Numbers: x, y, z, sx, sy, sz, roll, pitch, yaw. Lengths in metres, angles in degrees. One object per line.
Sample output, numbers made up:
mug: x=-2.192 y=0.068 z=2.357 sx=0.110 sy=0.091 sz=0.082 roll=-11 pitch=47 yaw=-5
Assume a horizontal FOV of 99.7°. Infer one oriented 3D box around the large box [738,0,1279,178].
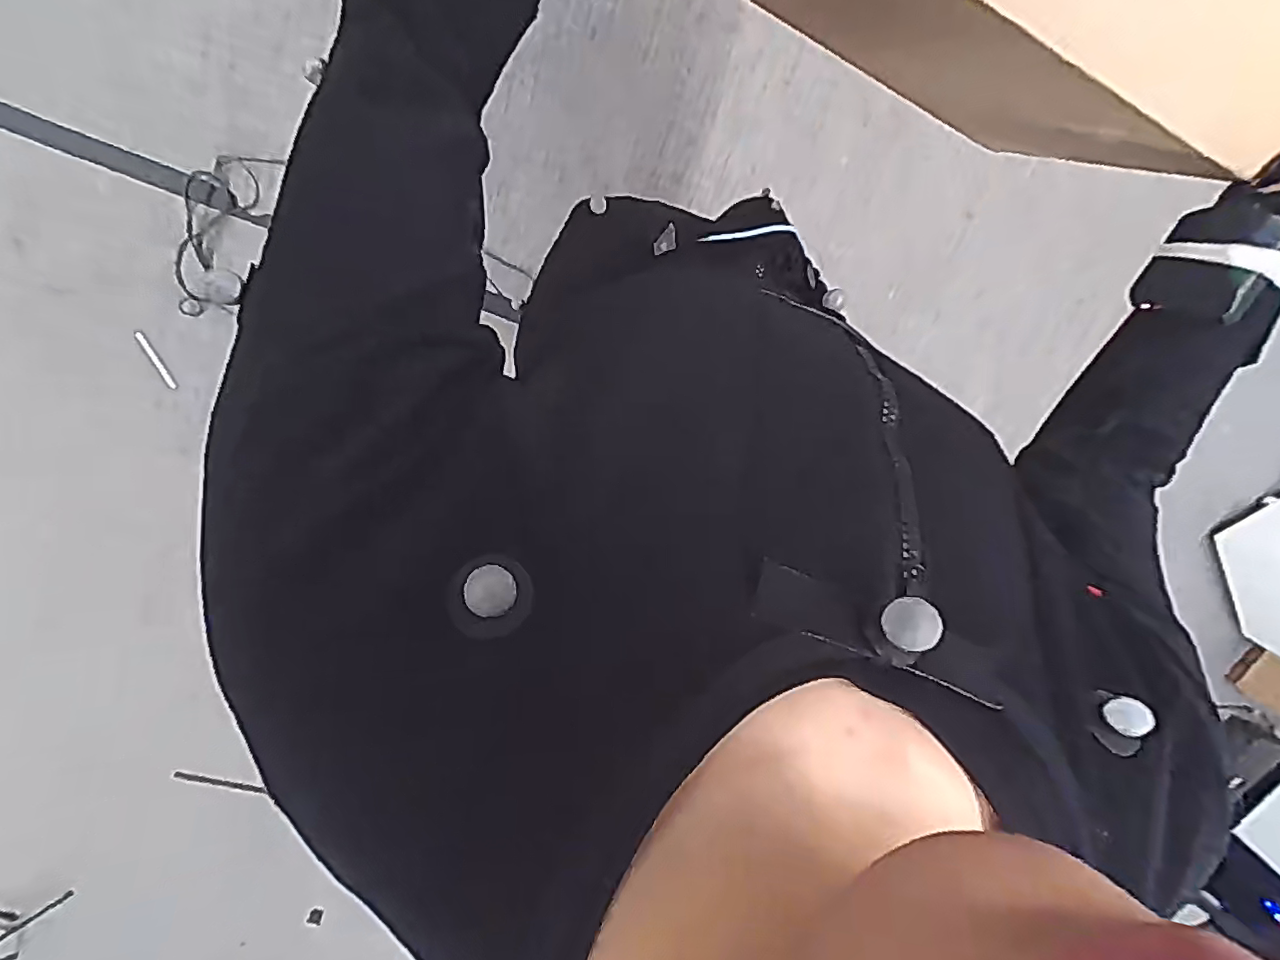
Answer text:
large box: x=0.279 y=-0.467 z=0.366 sx=0.408 sy=0.320 sz=0.320 roll=19 pitch=123 yaw=-15
